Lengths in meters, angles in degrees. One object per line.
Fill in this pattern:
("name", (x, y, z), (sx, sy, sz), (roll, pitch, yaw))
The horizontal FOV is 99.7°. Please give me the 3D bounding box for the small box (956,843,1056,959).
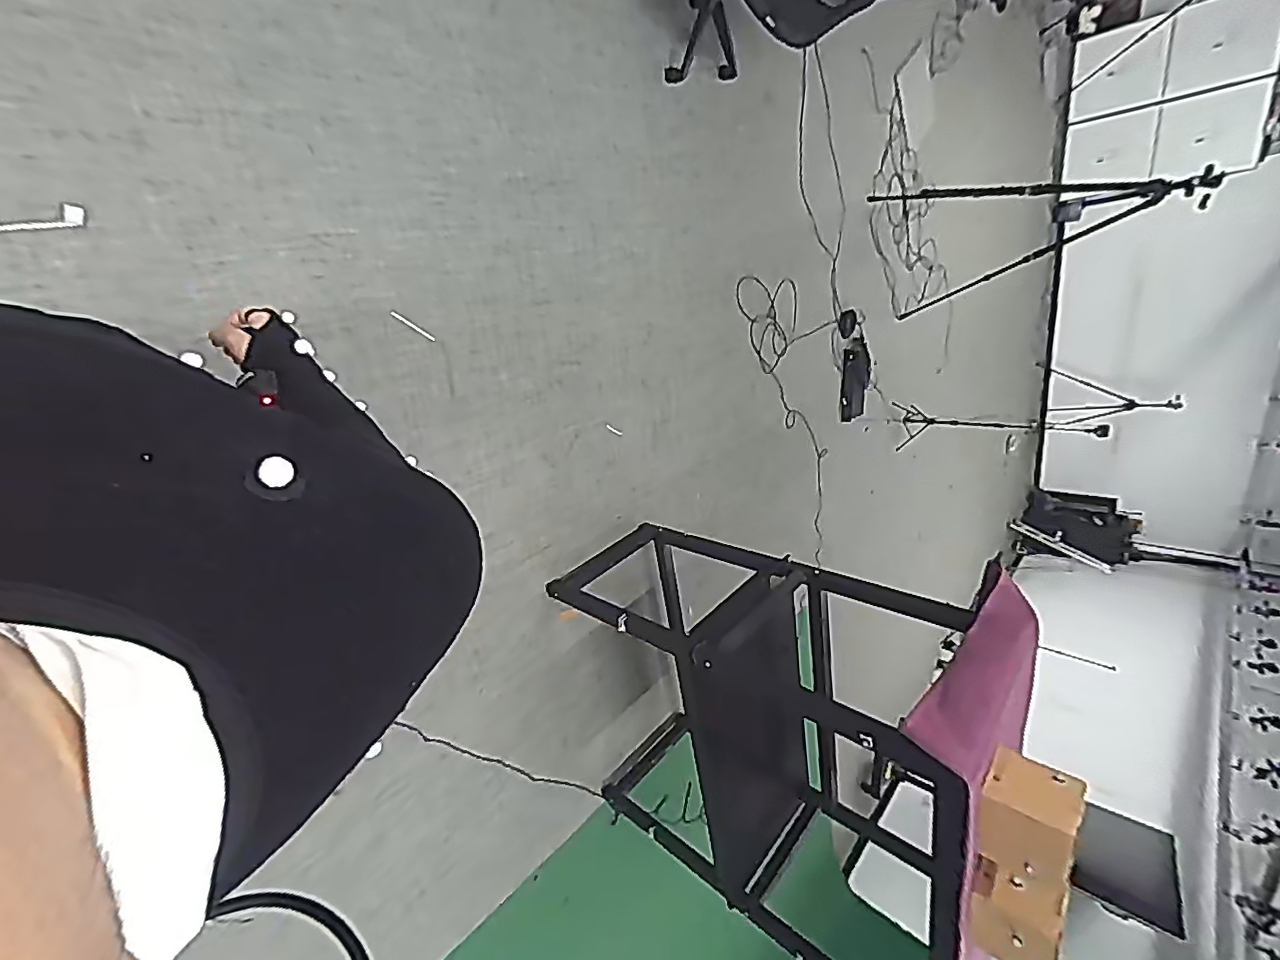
("small box", (0.881, 1.026, 1.307), (0.168, 0.176, 0.179), (-24, 114, -41))
